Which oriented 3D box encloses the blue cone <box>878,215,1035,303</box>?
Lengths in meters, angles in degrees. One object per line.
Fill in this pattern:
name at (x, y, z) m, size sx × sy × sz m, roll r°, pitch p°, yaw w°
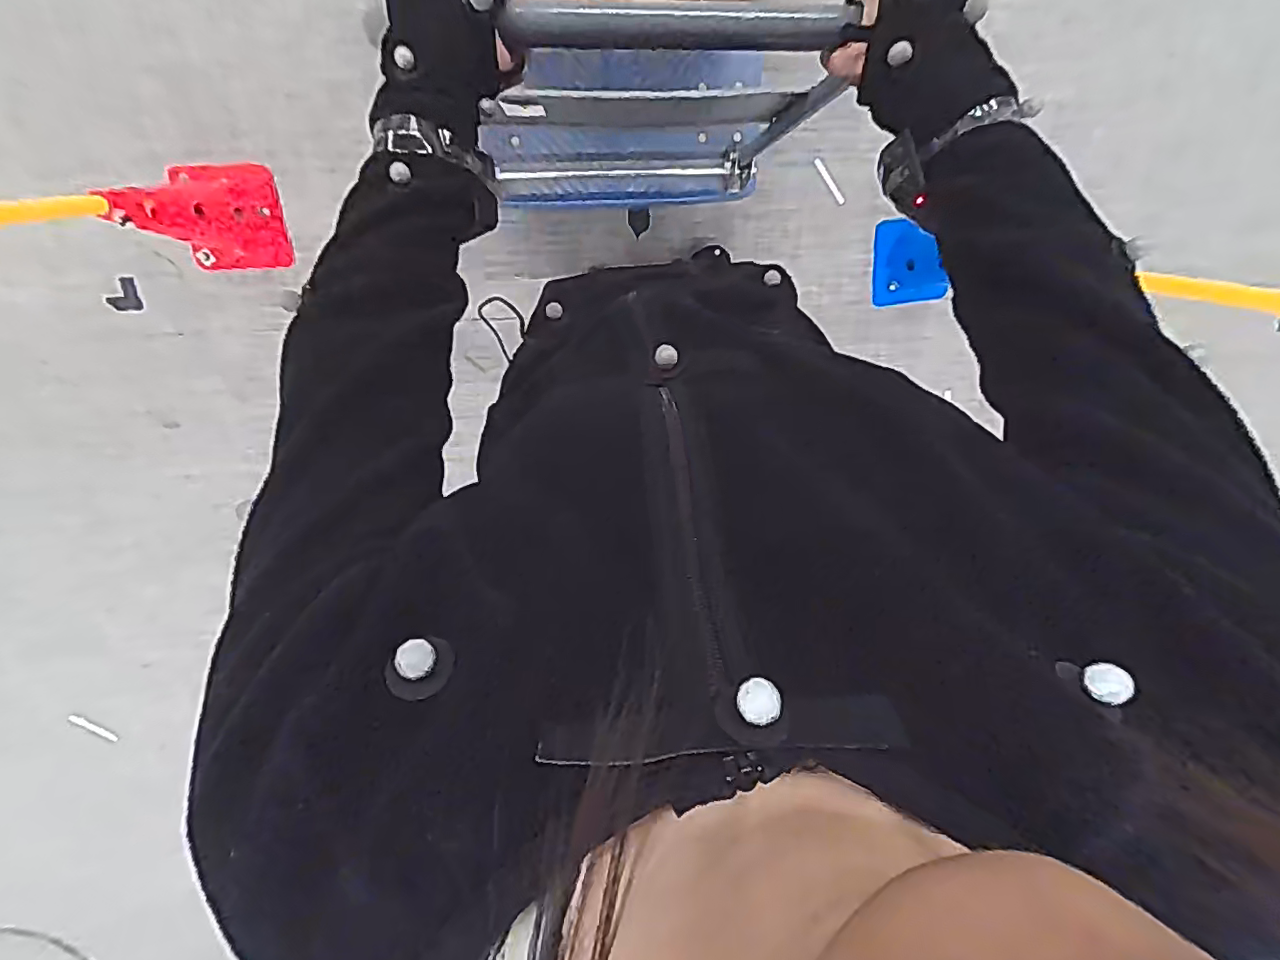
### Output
blue cone at (0.701, -0.483, 1.185) m, size 0.193 × 0.380 × 0.192 m, roll -8°, pitch 112°, yaw -5°
